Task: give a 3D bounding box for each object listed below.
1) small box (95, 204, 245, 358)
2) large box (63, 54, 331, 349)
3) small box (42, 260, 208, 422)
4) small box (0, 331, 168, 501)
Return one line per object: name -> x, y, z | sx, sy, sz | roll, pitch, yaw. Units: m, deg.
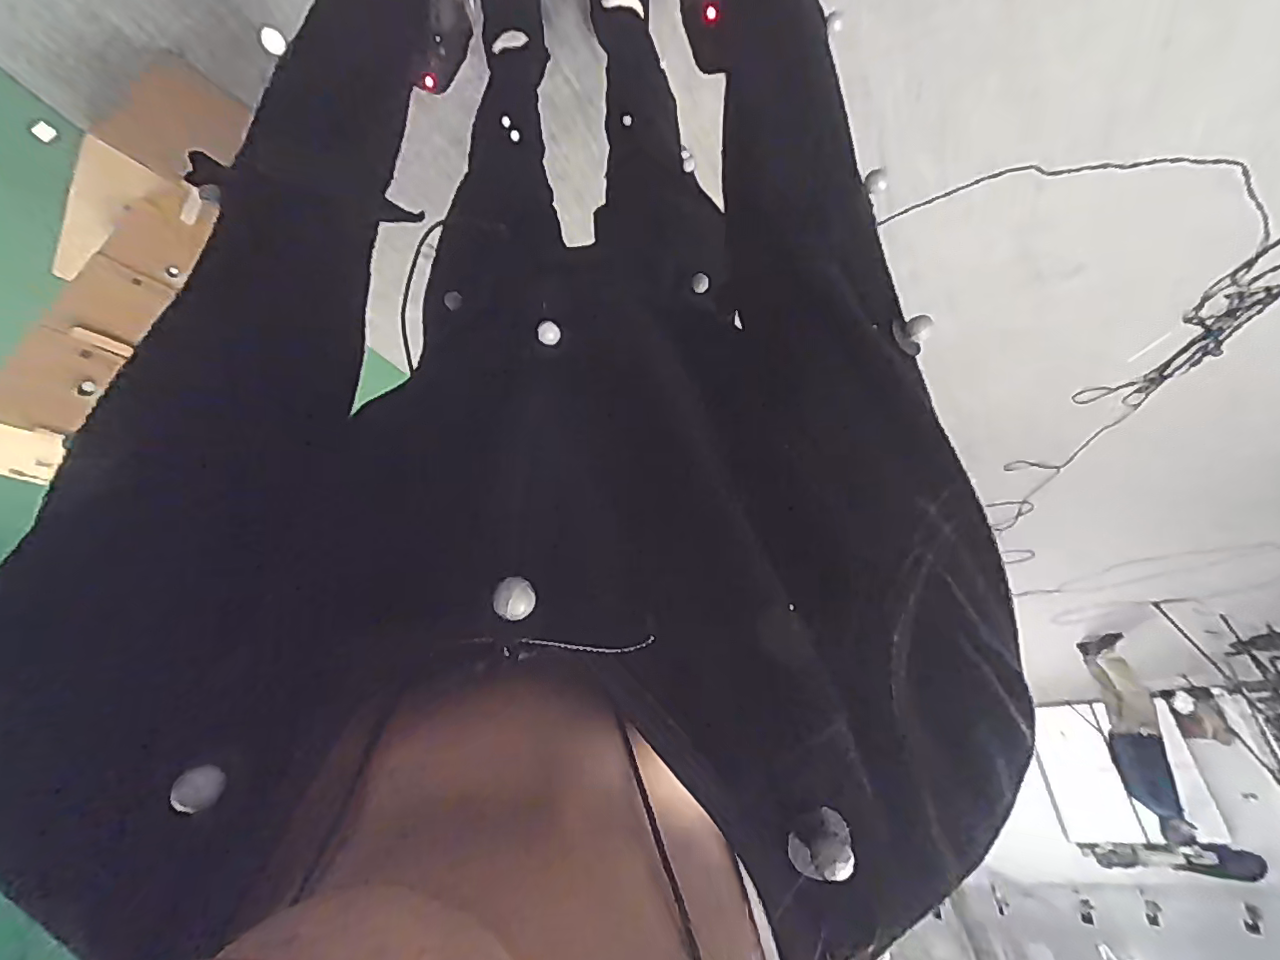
small box -> -0.888, -0.372, 1.018 | 0.168, 0.176, 0.179 | -27, 141, 33
large box -> -0.935, -0.568, 1.162 | 0.408, 0.320, 0.320 | -26, 140, 35
small box -> -0.882, -0.236, 0.928 | 0.179, 0.176, 0.168 | -27, 141, 34
small box -> -0.880, -0.096, 0.840 | 0.179, 0.176, 0.168 | -28, 140, 33
